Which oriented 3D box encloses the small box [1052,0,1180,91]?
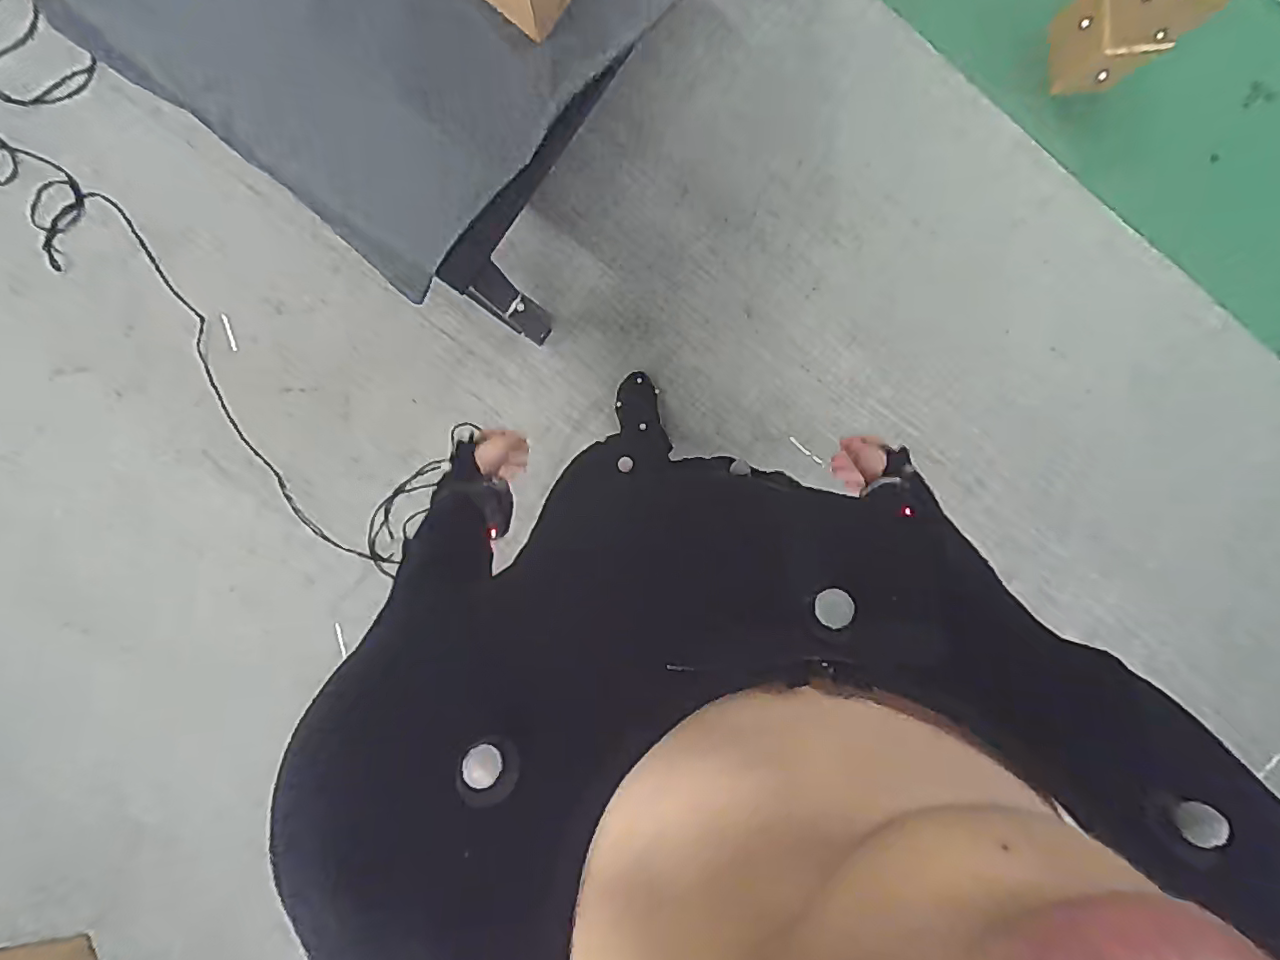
[{"bbox_3d":[1.134,-1.073,1.299,0.168,0.176,0.179,-7,96,0],"label":"small box"}]

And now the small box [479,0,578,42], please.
[{"bbox_3d":[-0.143,-0.638,0.581,0.179,0.176,0.168,36,94,-4],"label":"small box"}]
